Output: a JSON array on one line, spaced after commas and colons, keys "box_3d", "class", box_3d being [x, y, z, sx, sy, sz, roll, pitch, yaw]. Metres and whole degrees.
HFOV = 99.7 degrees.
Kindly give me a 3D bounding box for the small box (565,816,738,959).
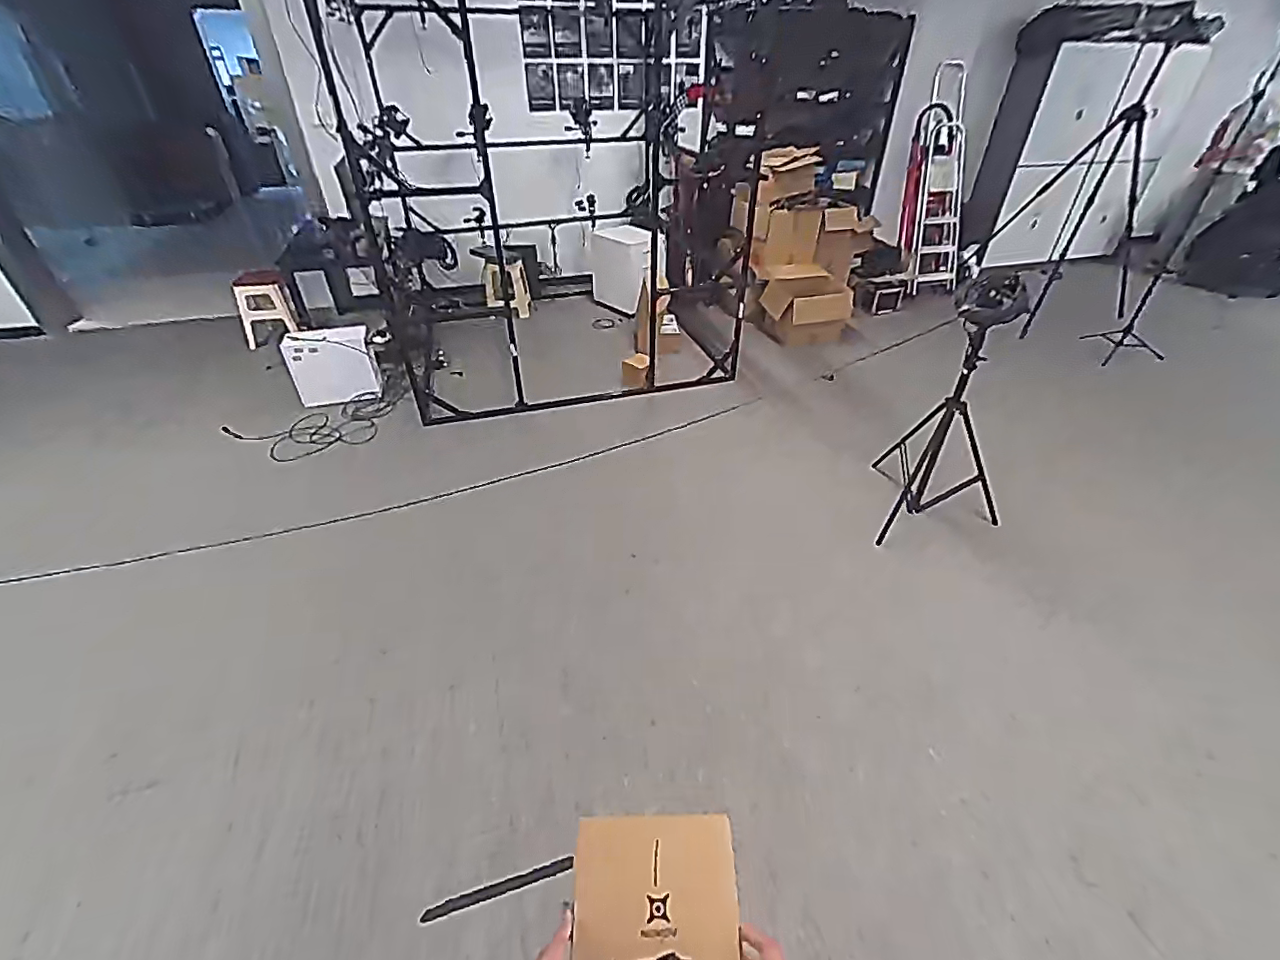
[{"box_3d": [0.005, 0.474, 0.588, 0.168, 0.176, 0.179, 3, 54, -6], "class": "small box"}]
